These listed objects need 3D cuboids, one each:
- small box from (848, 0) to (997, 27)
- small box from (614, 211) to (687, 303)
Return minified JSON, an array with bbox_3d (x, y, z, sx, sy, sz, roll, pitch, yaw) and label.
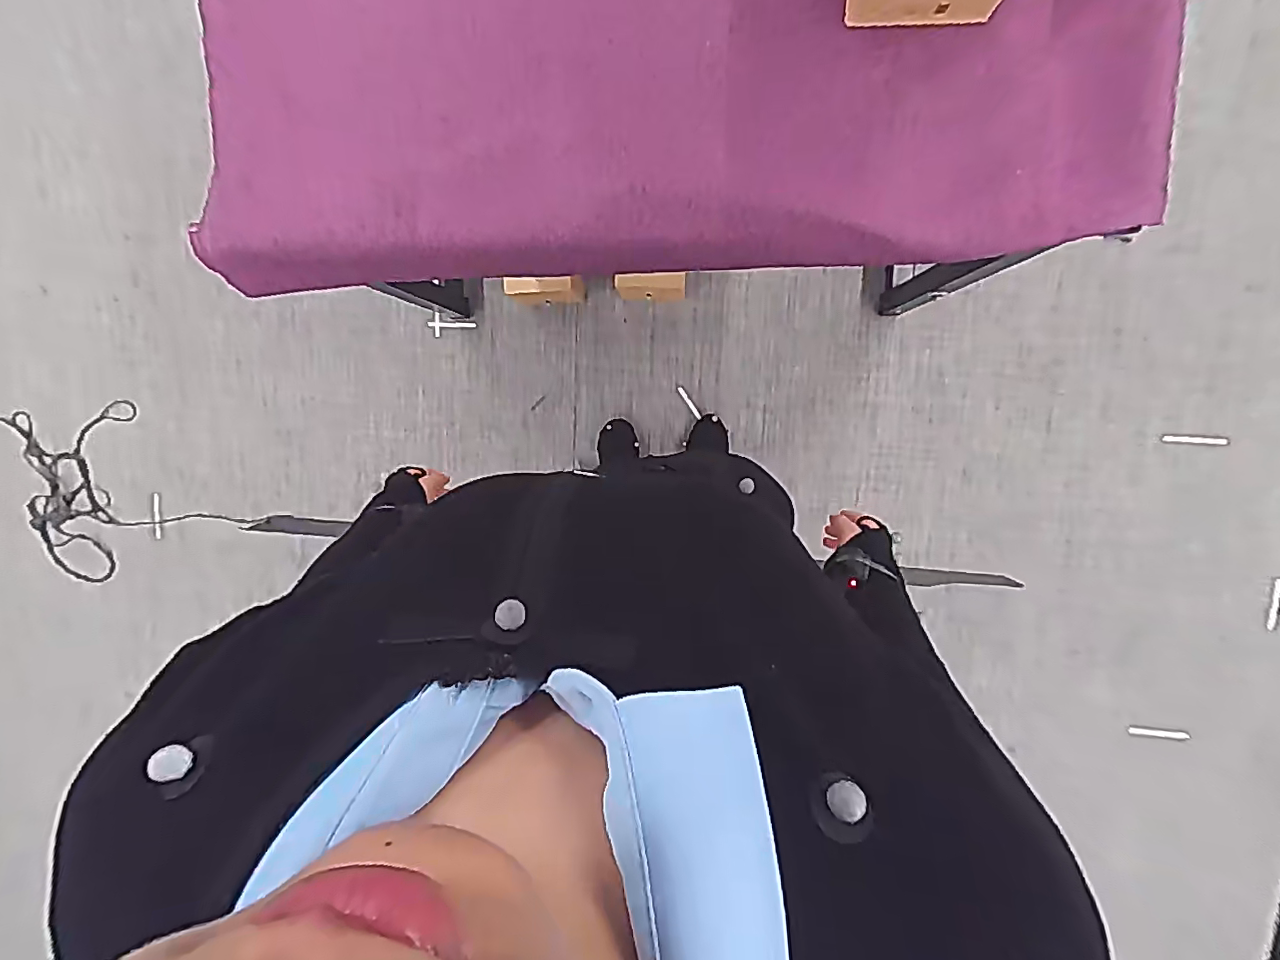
[{"bbox_3d":[0.331,-0.627,0.576,0.168,0.176,0.179,2,96,5],"label":"small box"},{"bbox_3d":[0.029,-0.546,1.343,0.168,0.176,0.179,3,97,3],"label":"small box"}]
